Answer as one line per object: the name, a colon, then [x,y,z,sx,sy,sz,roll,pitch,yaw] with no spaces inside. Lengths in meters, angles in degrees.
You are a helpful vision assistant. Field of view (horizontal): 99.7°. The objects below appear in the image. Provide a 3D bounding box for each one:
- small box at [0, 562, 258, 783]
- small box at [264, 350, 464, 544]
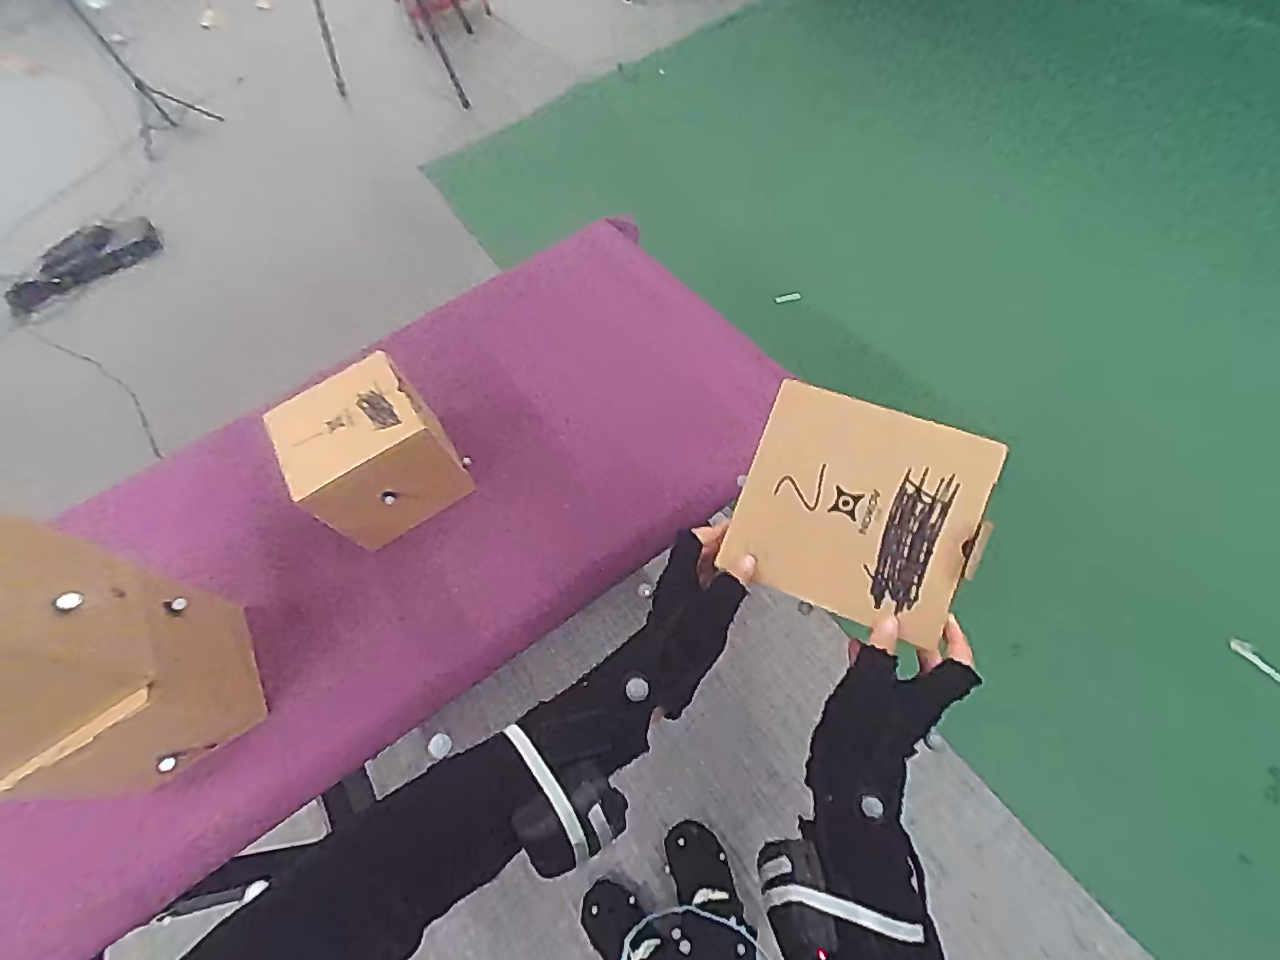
small box: [-0.599,0.232,0.639,0.168,0.176,0.179,-31,63,-10]
small box: [-0.371,-0.041,0.759,0.179,0.176,0.168,-32,63,-10]
